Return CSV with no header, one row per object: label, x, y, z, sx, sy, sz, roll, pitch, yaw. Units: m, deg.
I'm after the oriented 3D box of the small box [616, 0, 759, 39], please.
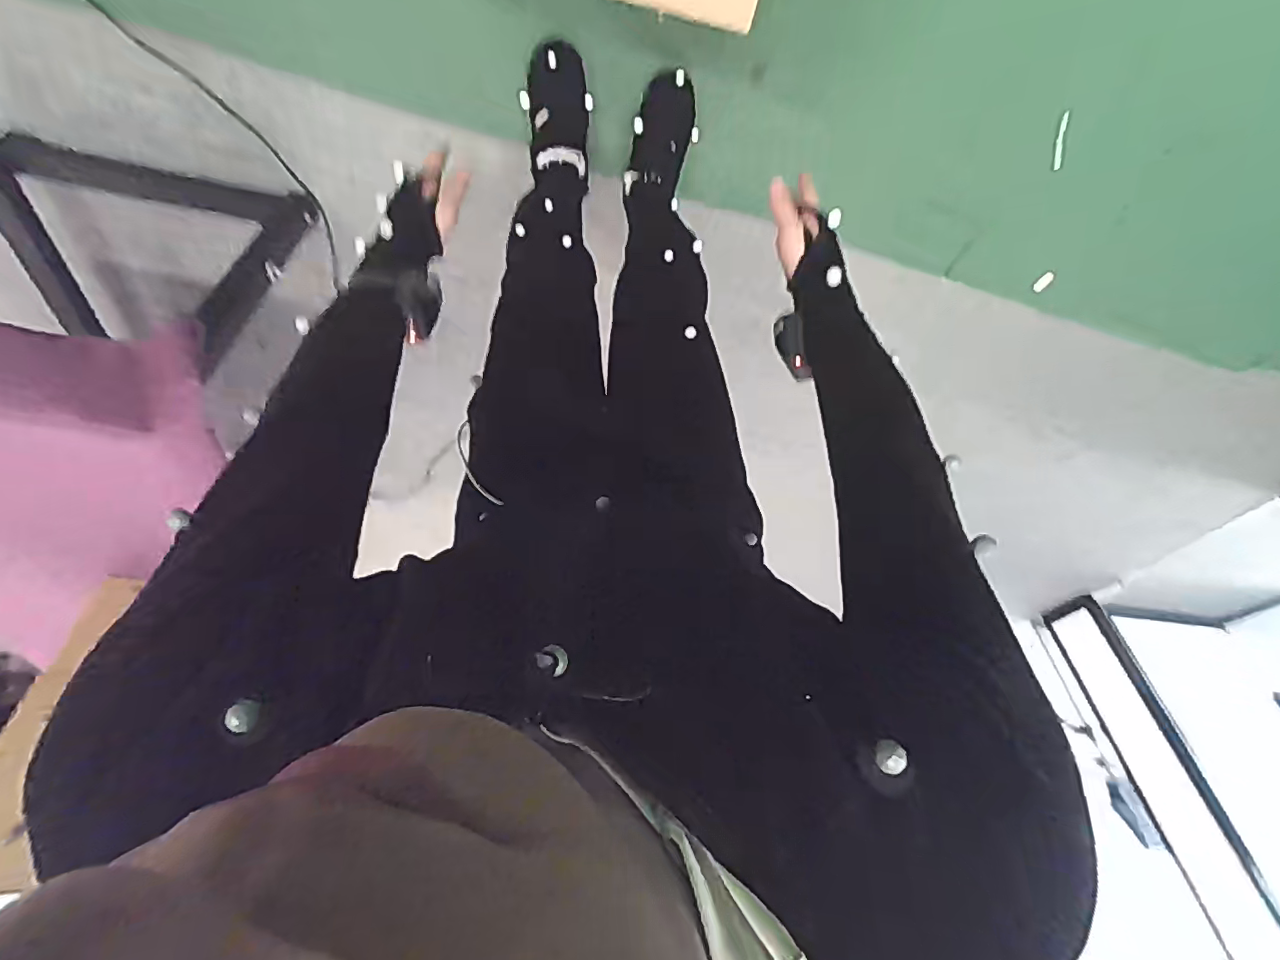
small box,0.056,-0.633,0.601,0.179,0.176,0.168,6,140,-11
